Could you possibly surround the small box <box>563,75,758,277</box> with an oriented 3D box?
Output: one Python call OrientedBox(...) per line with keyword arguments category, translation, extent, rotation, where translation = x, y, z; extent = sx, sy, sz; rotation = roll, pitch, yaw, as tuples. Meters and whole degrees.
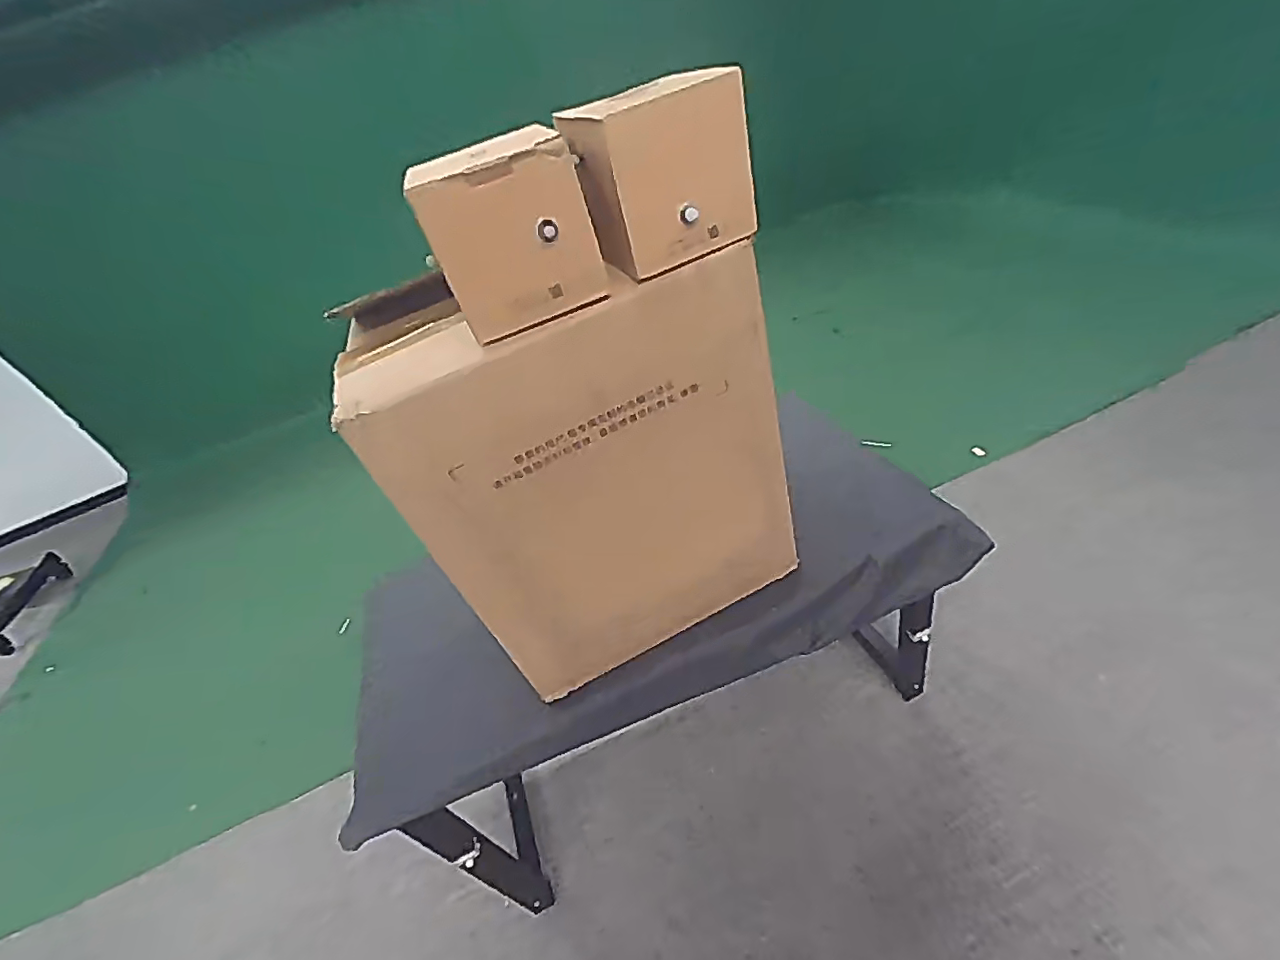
OrientedBox(category="small box", translation=(0.026, -0.368, 0.661), extent=(0.168, 0.176, 0.179), rotation=(-26, 40, -9))
